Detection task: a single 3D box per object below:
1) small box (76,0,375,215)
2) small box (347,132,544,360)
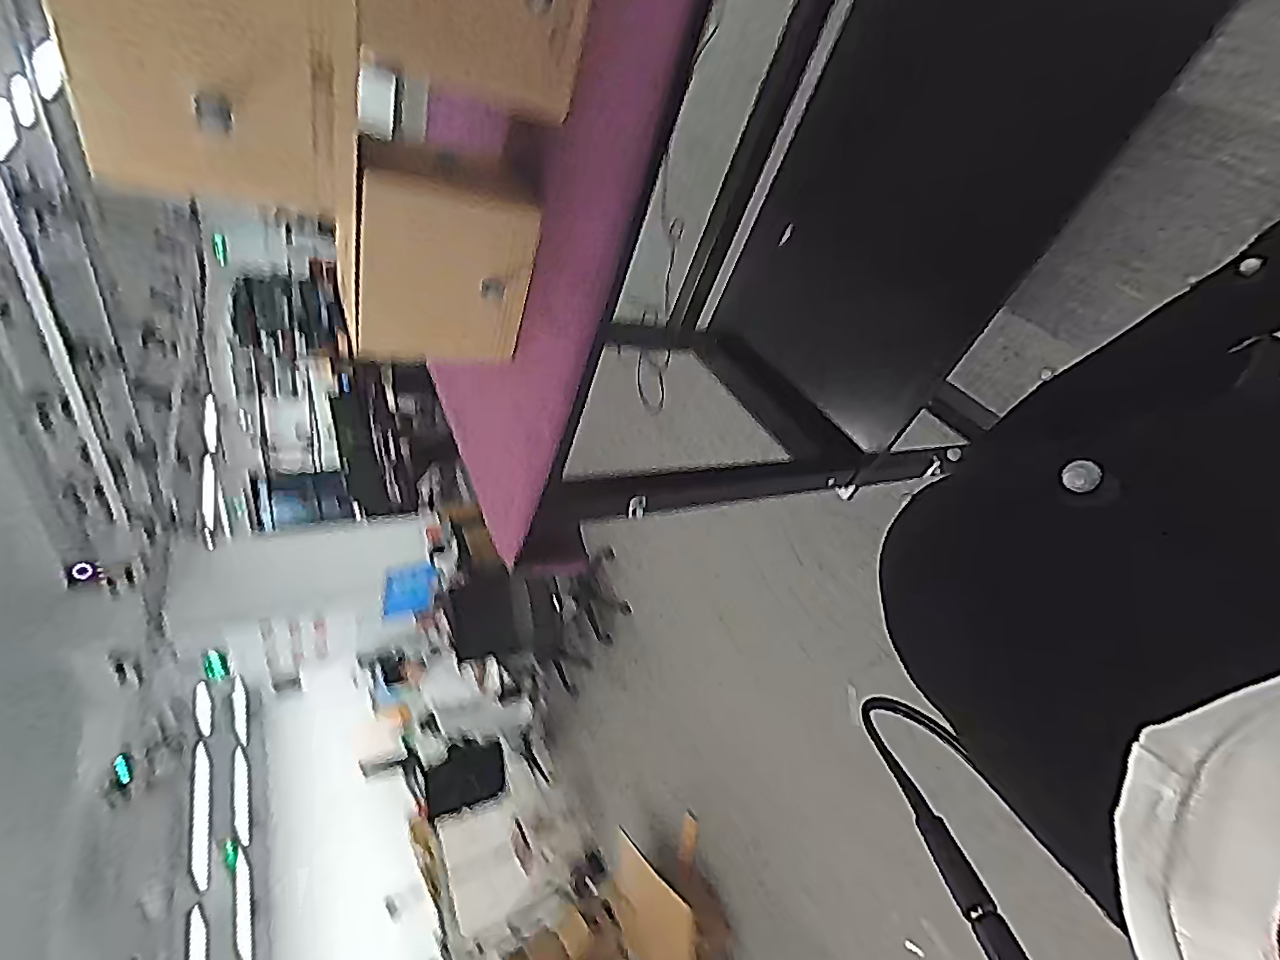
[{"bbox_3d":[-0.316,-0.334,0.438,0.179,0.176,0.168,59,140,36],"label":"small box"},{"bbox_3d":[-0.220,-0.253,0.603,0.168,0.176,0.179,57,138,37],"label":"small box"}]
